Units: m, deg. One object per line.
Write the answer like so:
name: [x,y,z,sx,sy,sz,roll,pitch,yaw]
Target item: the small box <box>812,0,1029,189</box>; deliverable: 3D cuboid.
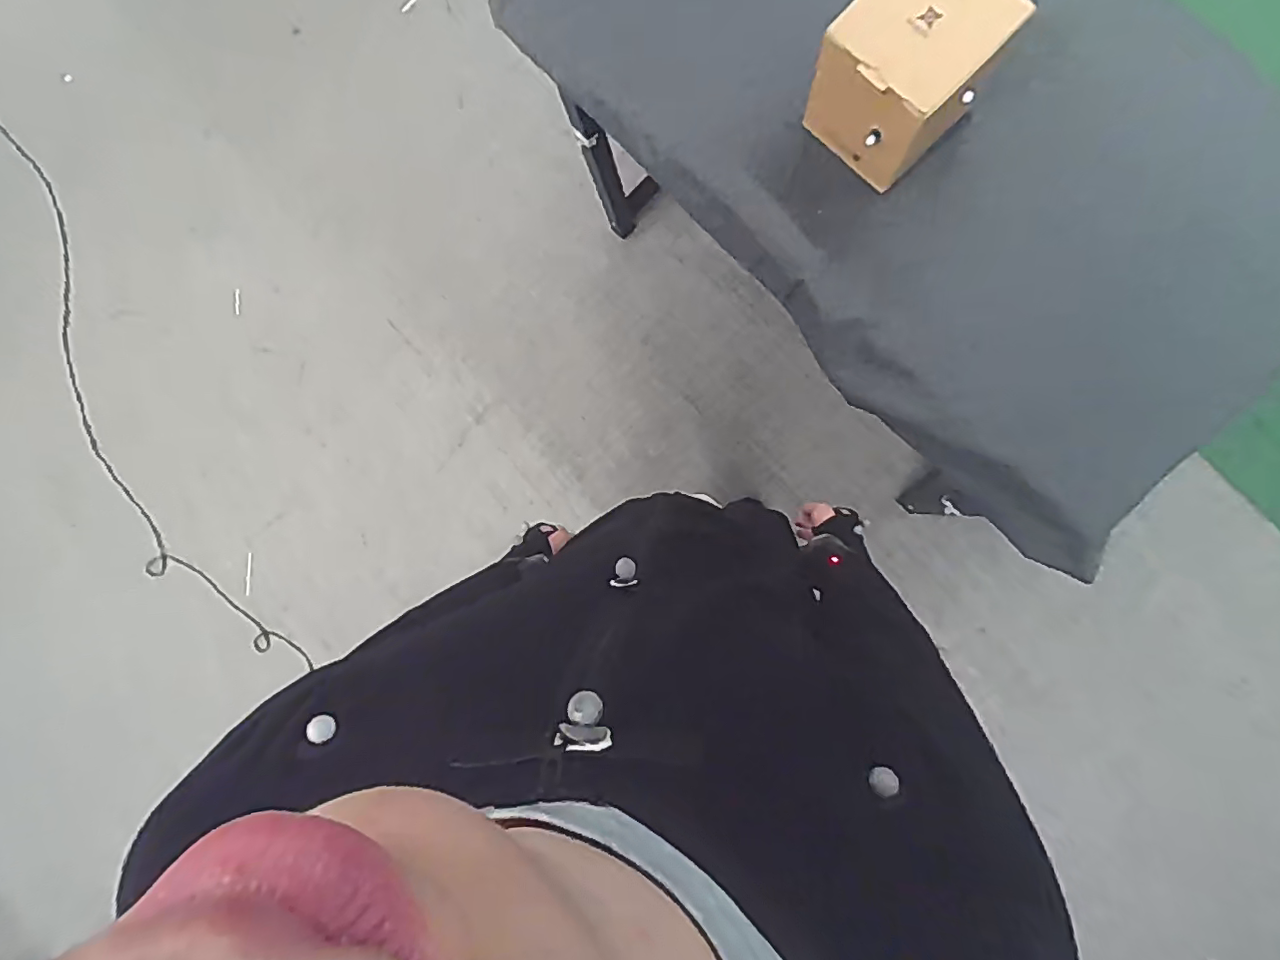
small box: [0.354,-0.542,0.729,0.179,0.176,0.168,-44,84,3]
